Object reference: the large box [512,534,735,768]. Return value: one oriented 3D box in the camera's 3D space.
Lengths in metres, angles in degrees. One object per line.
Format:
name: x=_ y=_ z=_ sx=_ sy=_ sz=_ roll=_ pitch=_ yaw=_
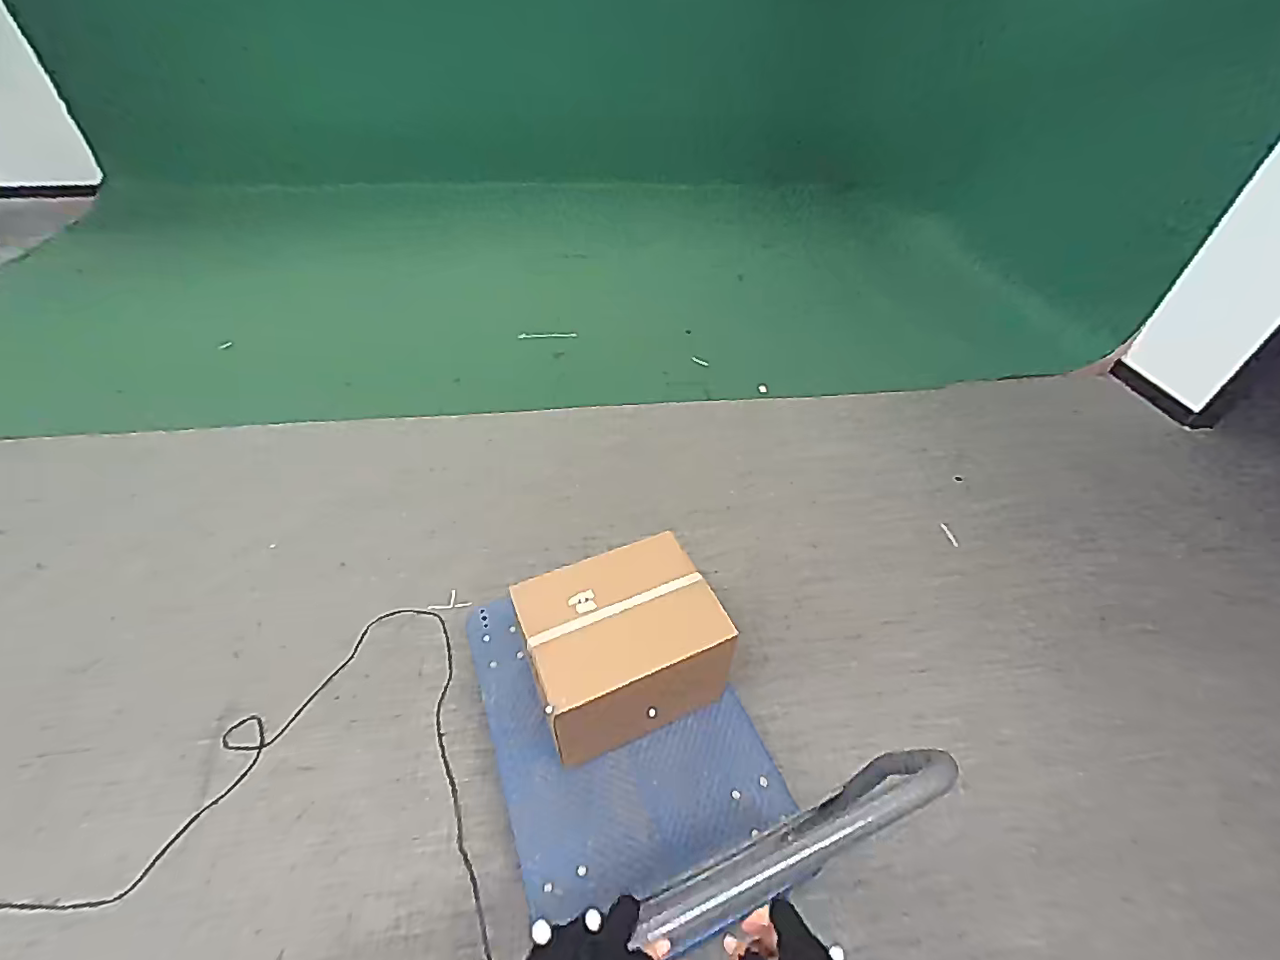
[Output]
large box: x=-0.042 y=0.391 z=1.258 sx=0.408 sy=0.320 sz=0.320 roll=-18 pitch=46 yaw=-17
